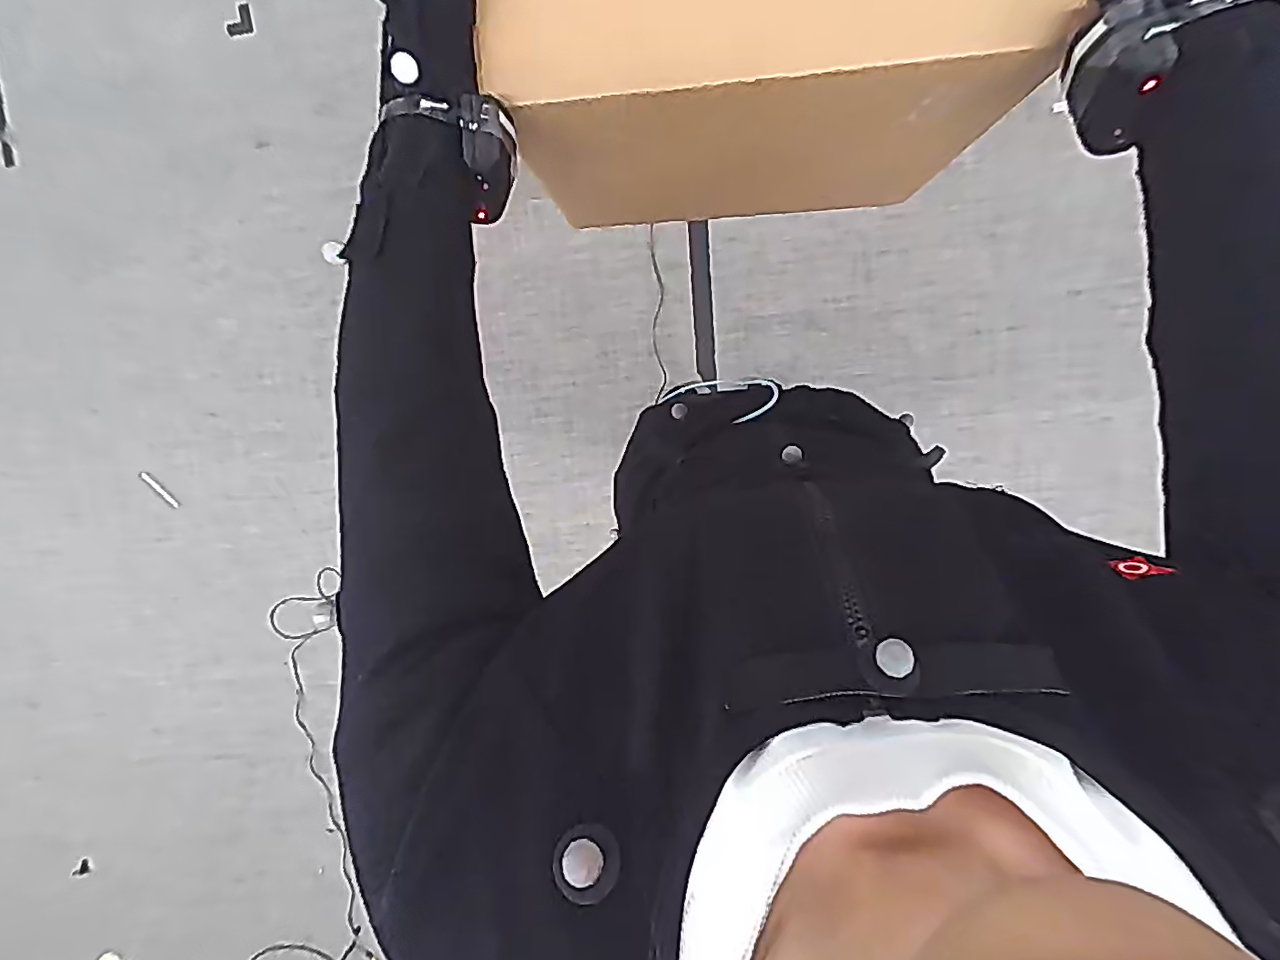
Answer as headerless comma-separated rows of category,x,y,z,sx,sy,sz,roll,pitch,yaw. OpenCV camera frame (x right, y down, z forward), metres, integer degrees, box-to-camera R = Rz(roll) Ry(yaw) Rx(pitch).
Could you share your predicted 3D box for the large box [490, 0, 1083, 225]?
large box,0.094,-0.456,0.496,0.408,0.320,0.320,-3,100,5
